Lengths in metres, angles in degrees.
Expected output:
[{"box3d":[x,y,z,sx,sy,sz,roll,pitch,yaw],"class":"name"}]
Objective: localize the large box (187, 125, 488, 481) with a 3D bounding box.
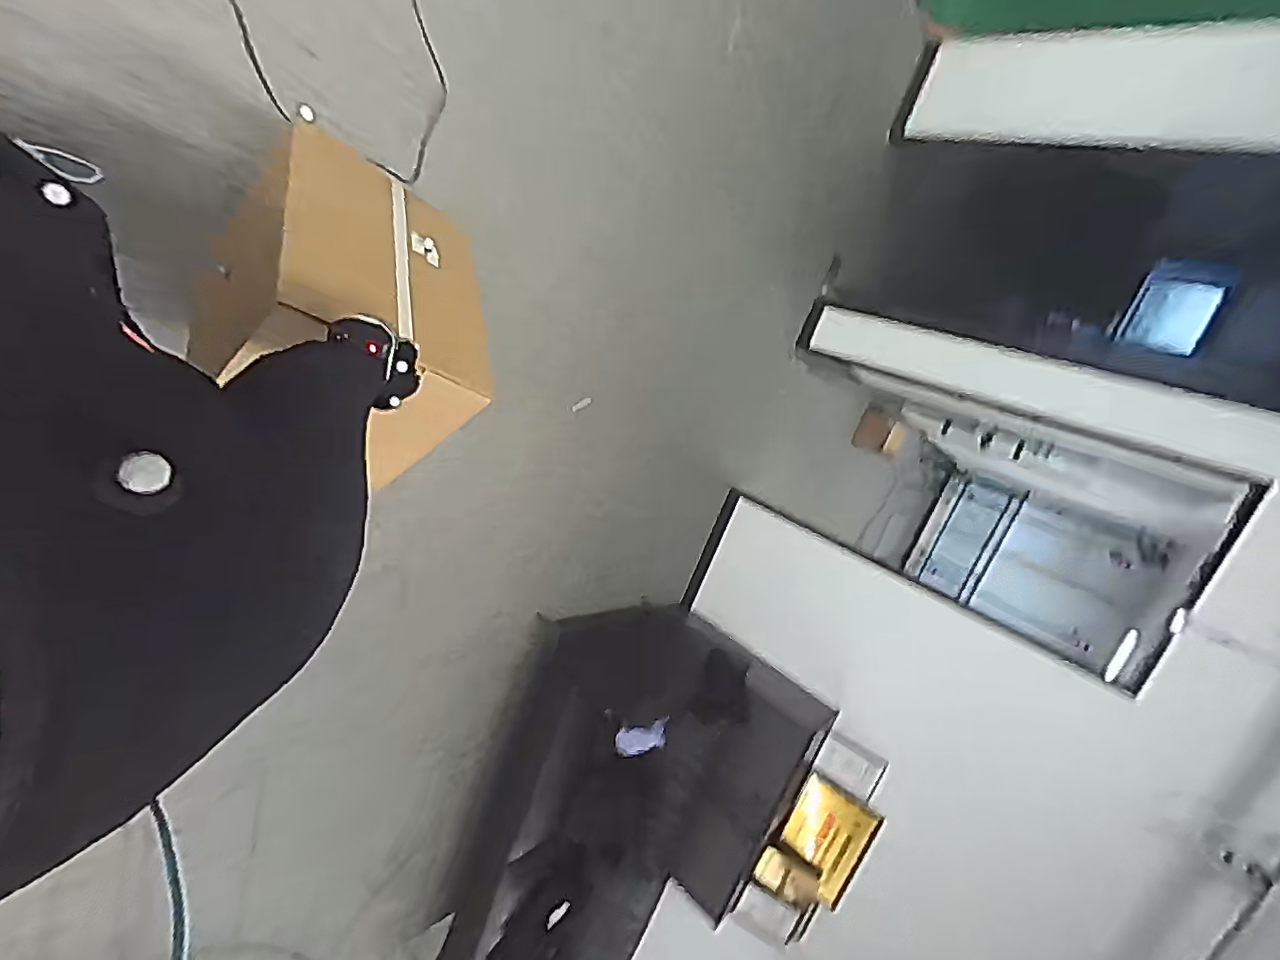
[{"box3d":[-0.497,-0.263,0.905,0.320,0.408,0.320,-32,148,25],"class":"large box"}]
